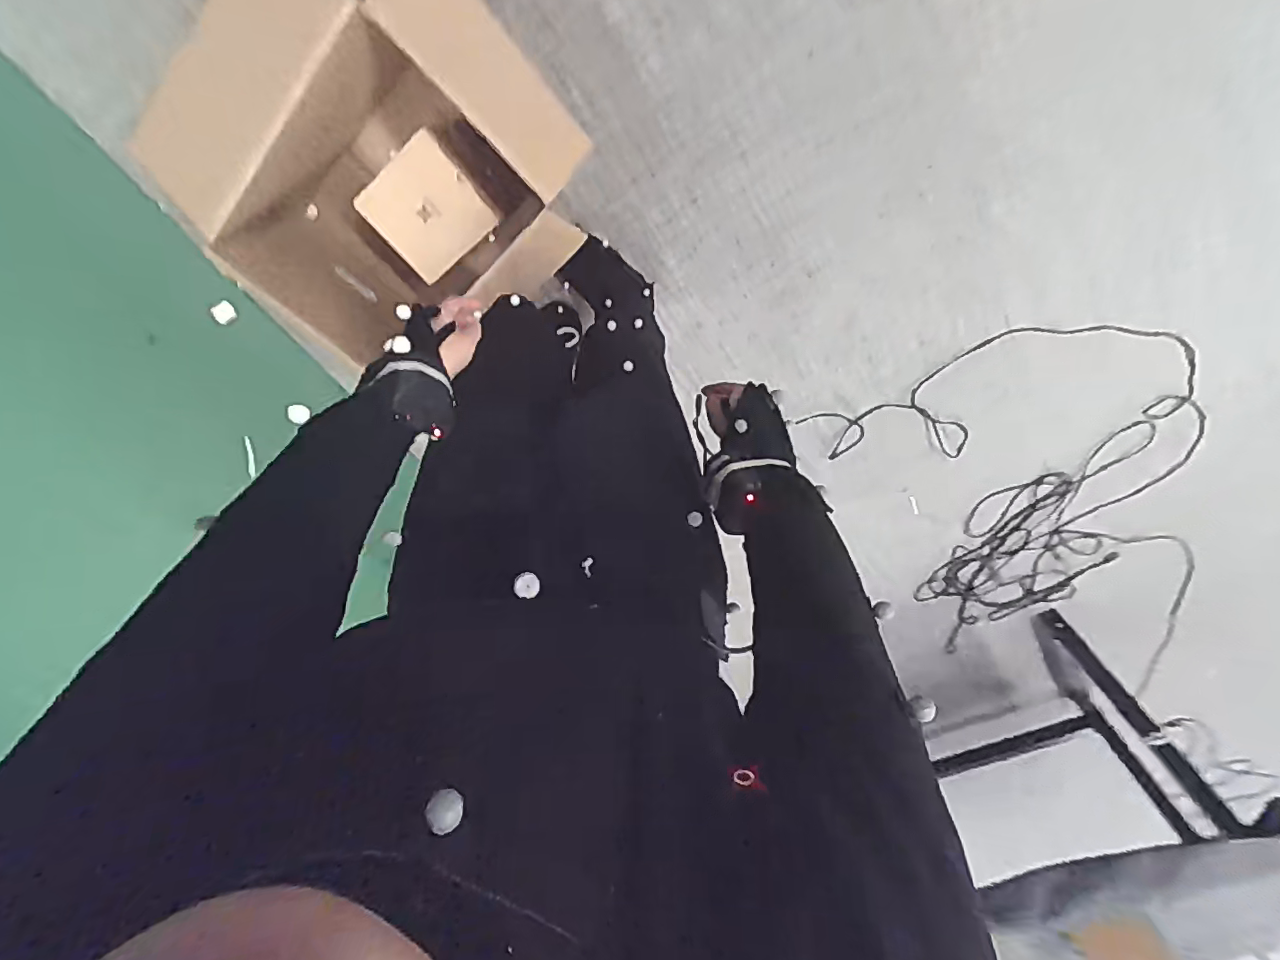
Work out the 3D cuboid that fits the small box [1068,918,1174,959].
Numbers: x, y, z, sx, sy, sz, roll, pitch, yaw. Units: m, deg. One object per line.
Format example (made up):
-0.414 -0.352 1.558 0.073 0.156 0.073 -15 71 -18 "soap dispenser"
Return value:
1.148 1.151 1.254 0.179 0.176 0.168 -28 120 17 "small box"
